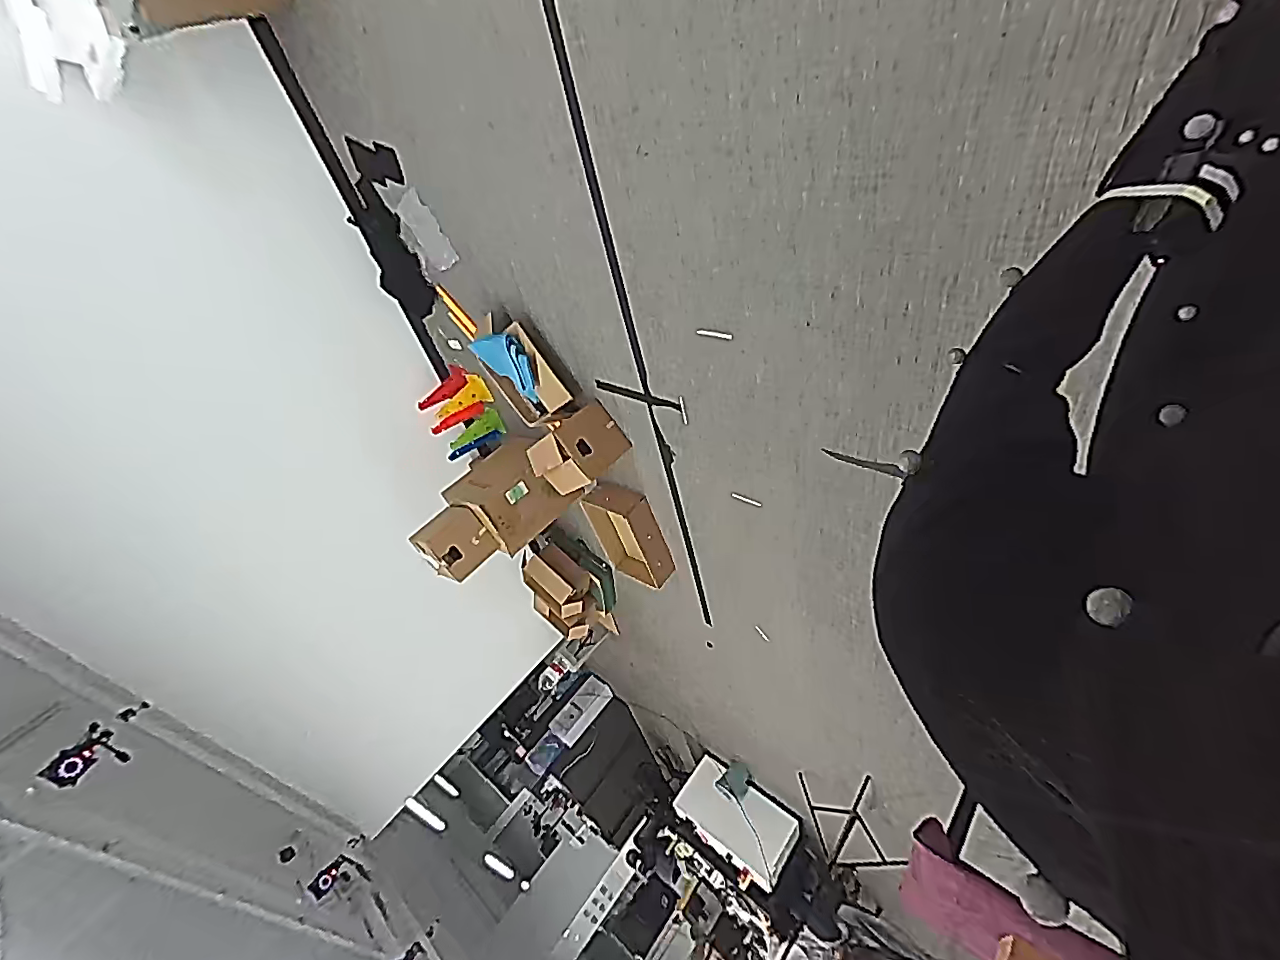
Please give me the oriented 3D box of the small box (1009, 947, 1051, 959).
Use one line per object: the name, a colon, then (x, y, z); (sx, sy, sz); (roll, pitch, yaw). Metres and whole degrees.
small box: (1.170, 1.497, 1.561); (0.179, 0.176, 0.168); (22, 145, 34)
